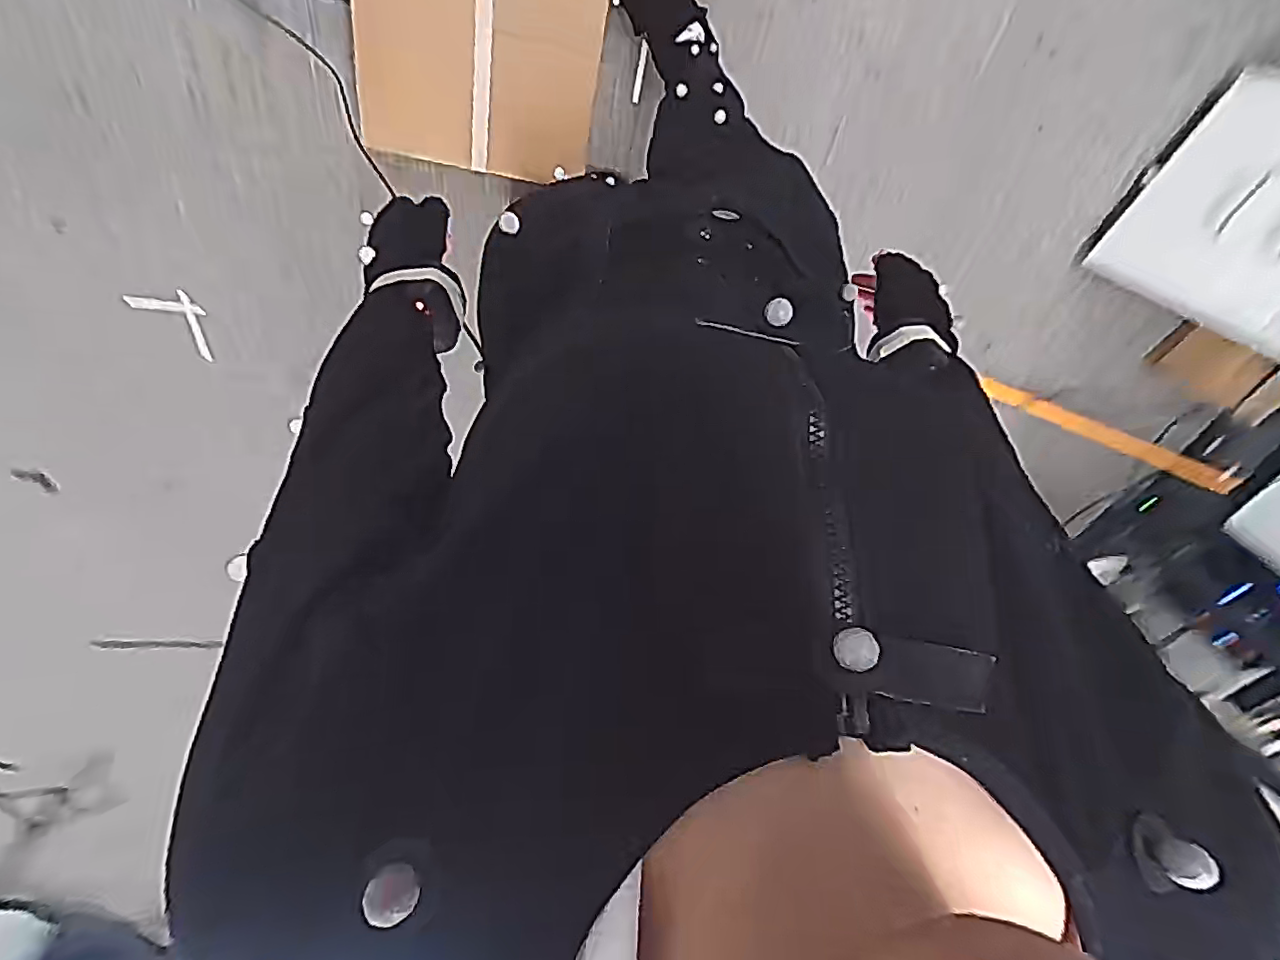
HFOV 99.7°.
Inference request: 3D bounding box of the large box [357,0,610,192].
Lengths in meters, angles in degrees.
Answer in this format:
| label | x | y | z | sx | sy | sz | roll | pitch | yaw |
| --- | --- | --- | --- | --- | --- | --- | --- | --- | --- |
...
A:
| label | x | y | z | sx | sy | sz | roll | pitch | yaw |
| --- | --- | --- | --- | --- | --- | --- | --- | --- | --- |
| large box | -0.219 | -0.707 | 0.795 | 0.320 | 0.320 | 0.408 | 5 | 129 | -15 |
